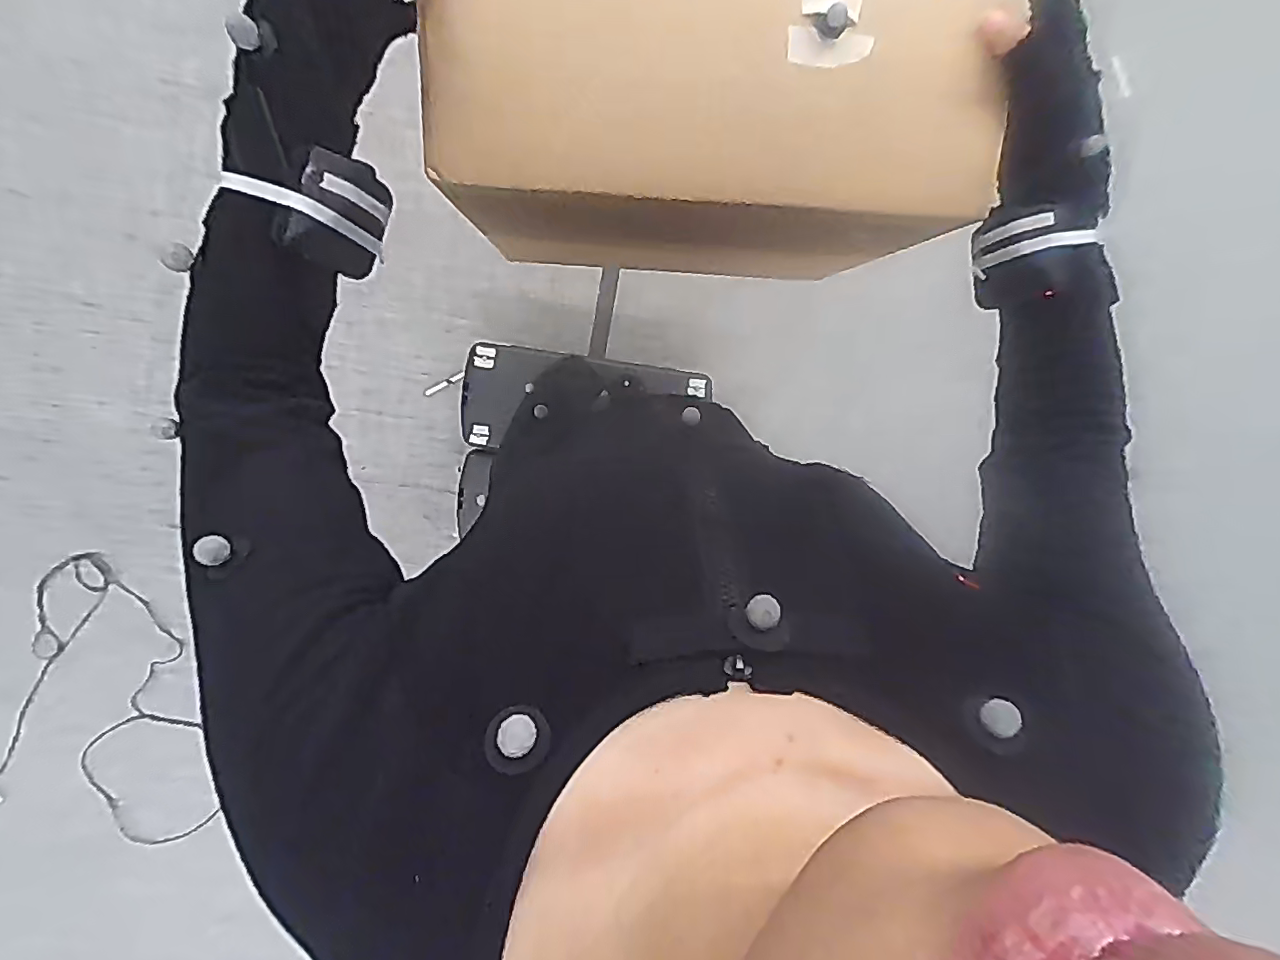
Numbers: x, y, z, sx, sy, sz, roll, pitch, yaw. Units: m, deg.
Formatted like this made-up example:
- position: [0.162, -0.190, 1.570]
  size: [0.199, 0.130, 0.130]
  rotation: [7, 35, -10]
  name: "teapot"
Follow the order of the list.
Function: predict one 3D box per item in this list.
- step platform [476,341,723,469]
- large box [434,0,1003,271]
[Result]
- position: [-0.112, -0.209, 1.540]
  size: [0.684, 0.204, 0.286]
  rotation: [6, 99, -7]
  name: "step platform"
- position: [0.048, -0.391, 0.510]
  size: [0.408, 0.320, 0.320]
  rotation: [1, 103, -5]
  name: "large box"
